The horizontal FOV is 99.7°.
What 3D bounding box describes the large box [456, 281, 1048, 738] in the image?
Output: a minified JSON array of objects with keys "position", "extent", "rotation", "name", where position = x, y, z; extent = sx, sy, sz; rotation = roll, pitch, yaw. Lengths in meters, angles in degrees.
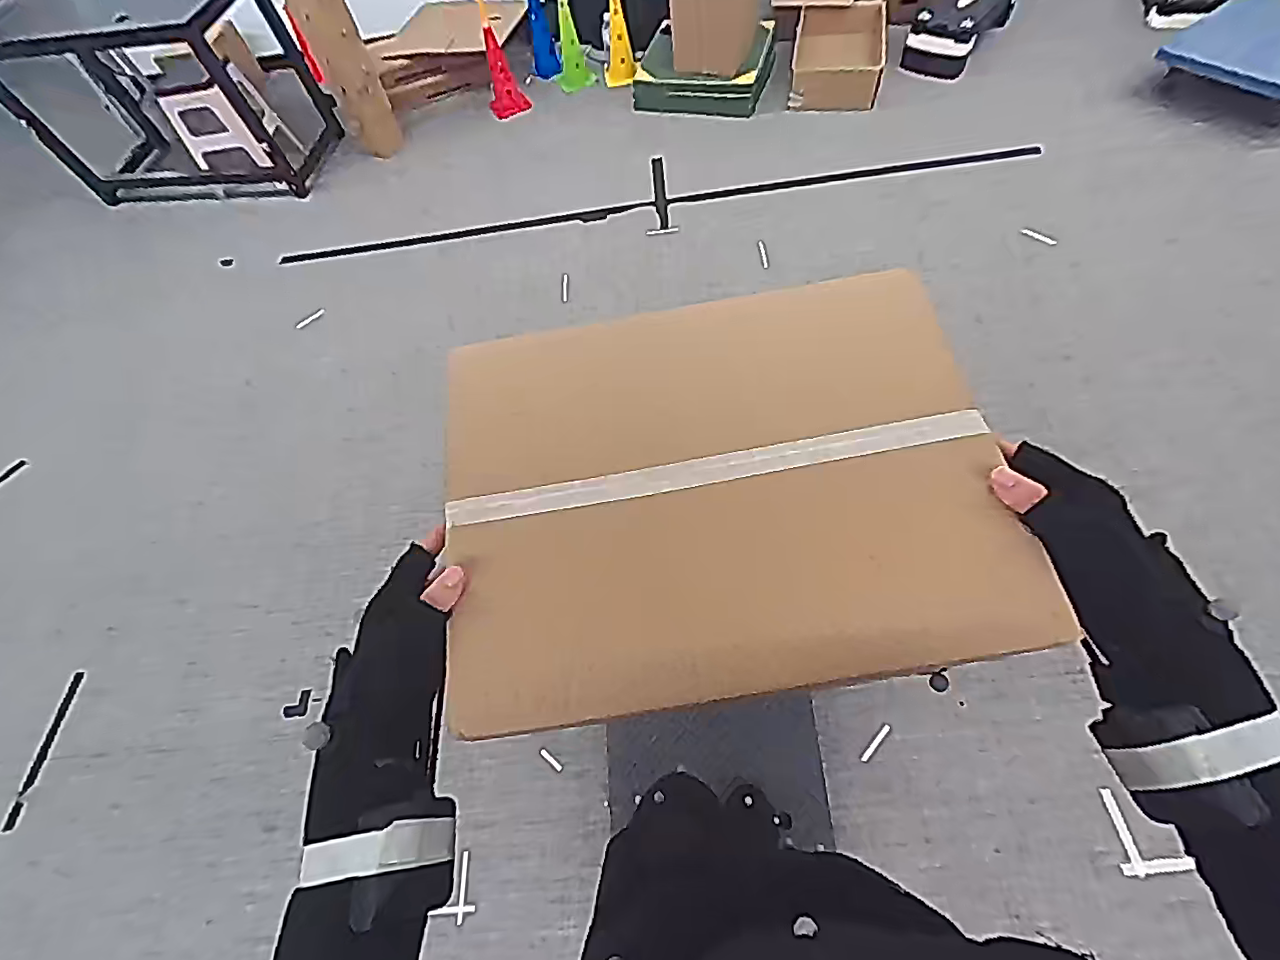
[{"position":[0.069,0.055,0.555],"extent":[0.408,0.320,0.320],"rotation":[-10,66,2],"name":"large box"}]
